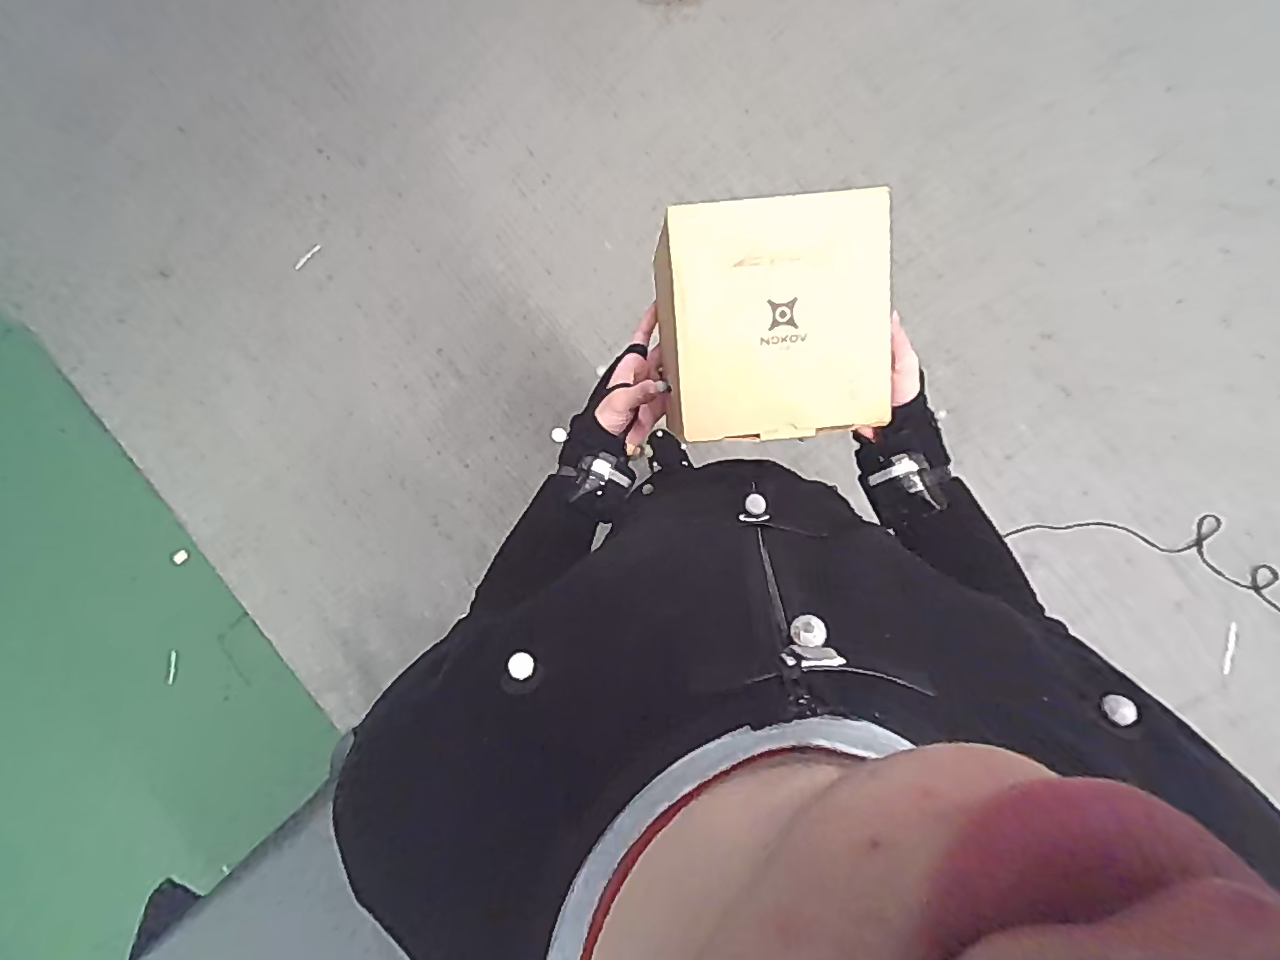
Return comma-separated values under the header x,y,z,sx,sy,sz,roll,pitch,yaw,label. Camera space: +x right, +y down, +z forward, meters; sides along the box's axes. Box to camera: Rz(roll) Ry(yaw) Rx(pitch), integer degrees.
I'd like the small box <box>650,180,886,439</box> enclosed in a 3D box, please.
x,y,z,sx,sy,sz,roll,pitch,yaw,label
0.101,-0.139,0.483,0.168,0.176,0.179,-6,100,-1,small box
